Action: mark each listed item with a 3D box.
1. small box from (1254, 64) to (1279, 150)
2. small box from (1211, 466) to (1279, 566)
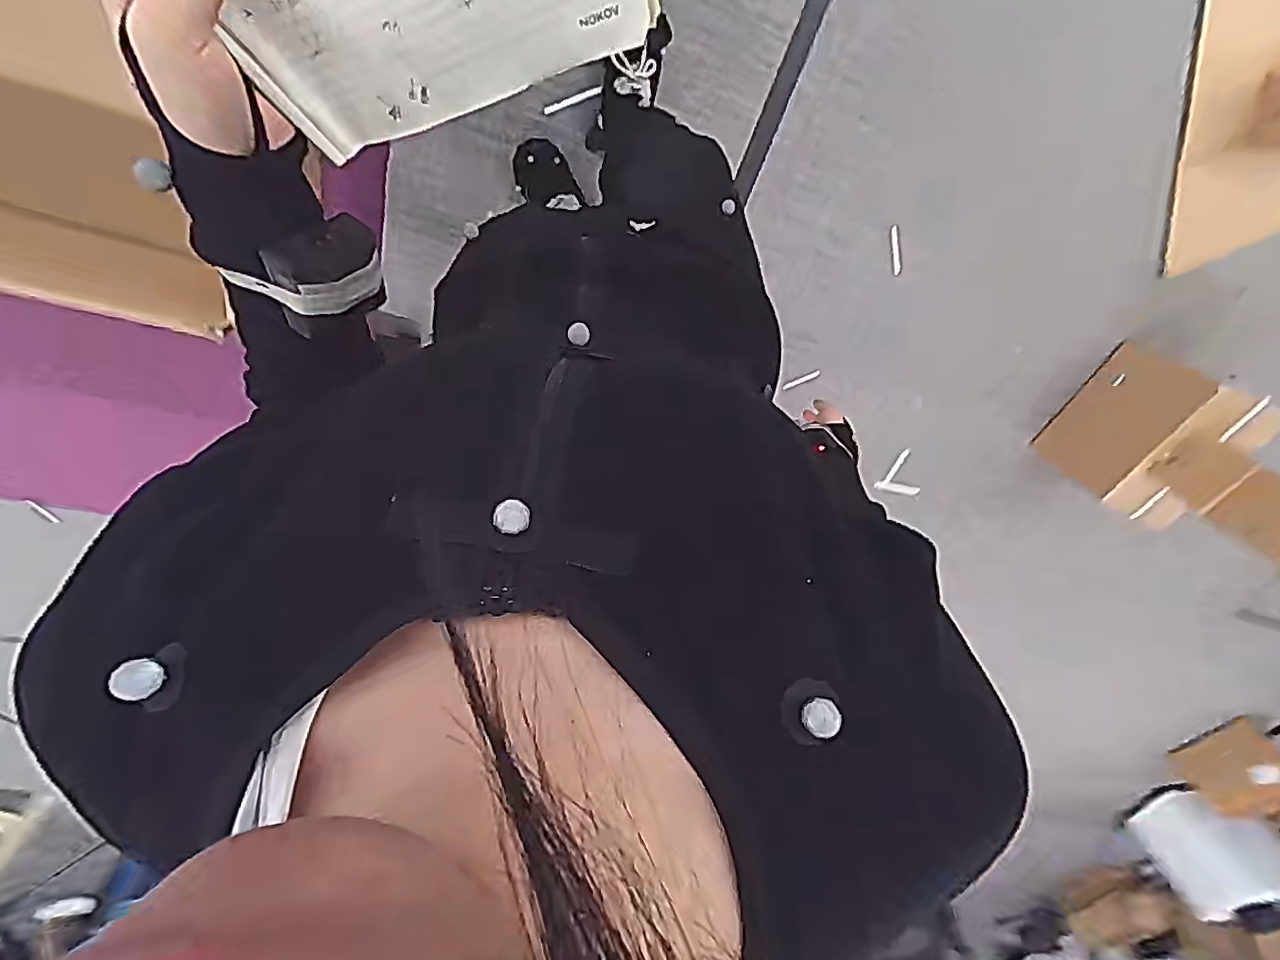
[{"bbox_3d":[1.544,-0.853,1.199,0.168,0.176,0.179,-25,126,10],"label":"small box"},{"bbox_3d":[1.548,0.095,1.296,0.168,0.176,0.179,15,120,-18],"label":"small box"}]
